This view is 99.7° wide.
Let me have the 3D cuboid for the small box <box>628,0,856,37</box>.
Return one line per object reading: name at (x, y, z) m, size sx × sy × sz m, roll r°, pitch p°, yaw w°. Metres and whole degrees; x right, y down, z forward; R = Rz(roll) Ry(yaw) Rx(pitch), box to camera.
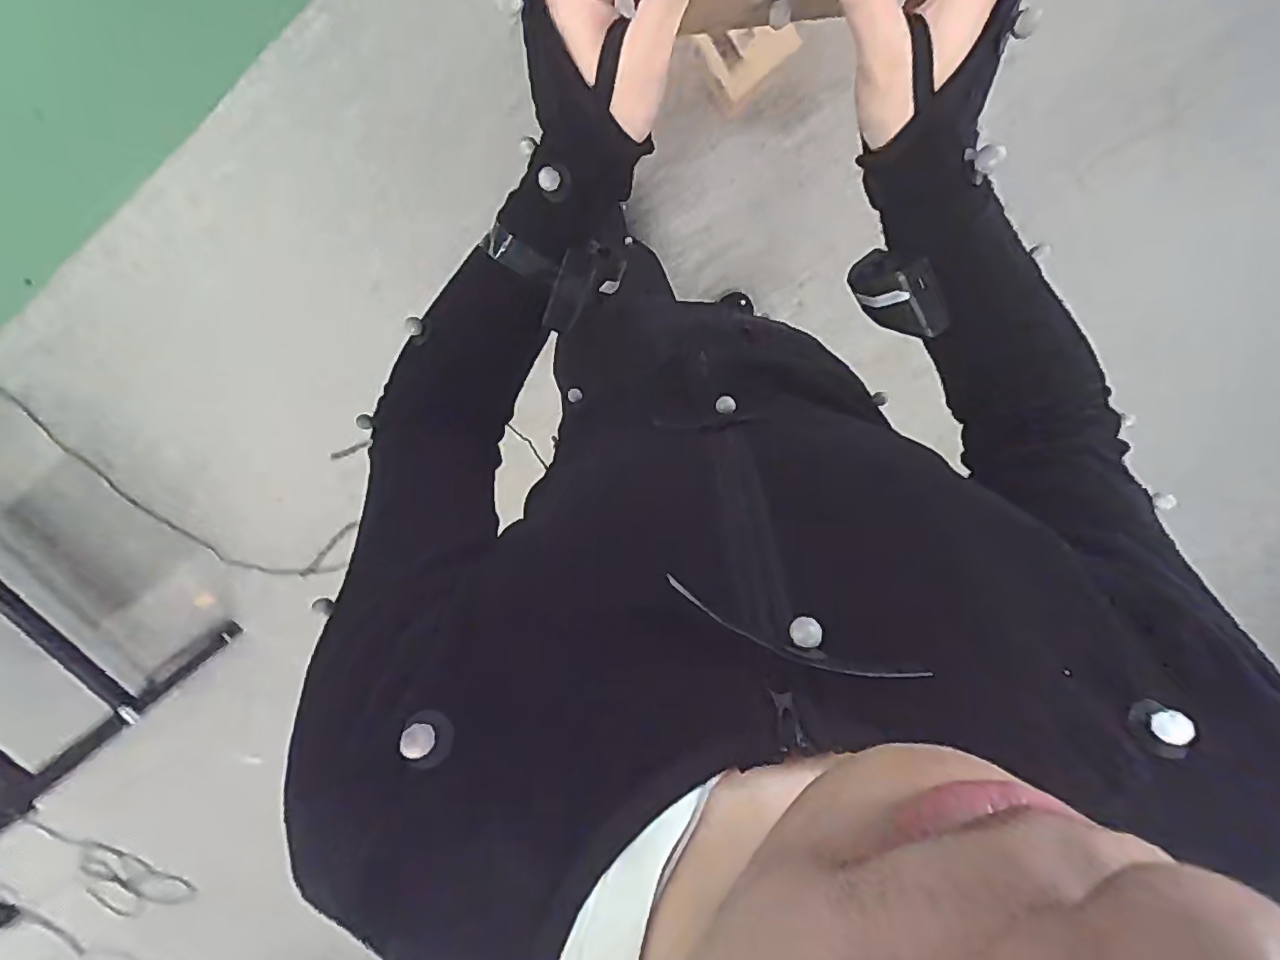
small box at (0.068, -0.371, 0.294) m, size 0.168 × 0.176 × 0.179 m, roll -8°, pitch 119°, yaw 1°
